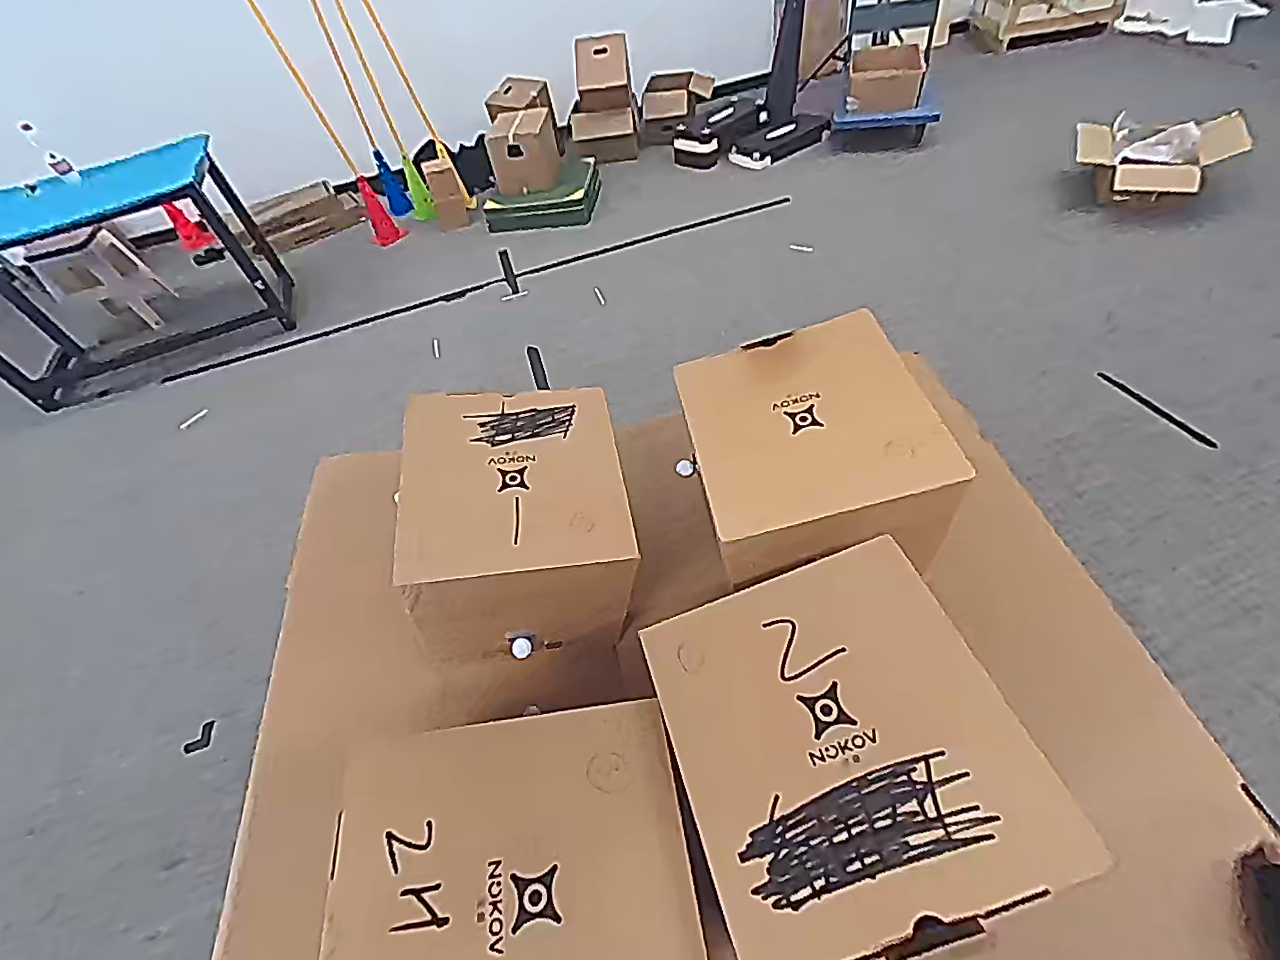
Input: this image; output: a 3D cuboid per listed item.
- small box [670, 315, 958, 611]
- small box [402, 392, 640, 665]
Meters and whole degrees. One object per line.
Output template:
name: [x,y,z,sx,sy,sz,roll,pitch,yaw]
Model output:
small box: [0.136,-0.002,0.466,0.168,0.176,0.179,-16,52,6]
small box: [-0.103,0.043,0.486,0.168,0.176,0.179,-5,53,-12]
